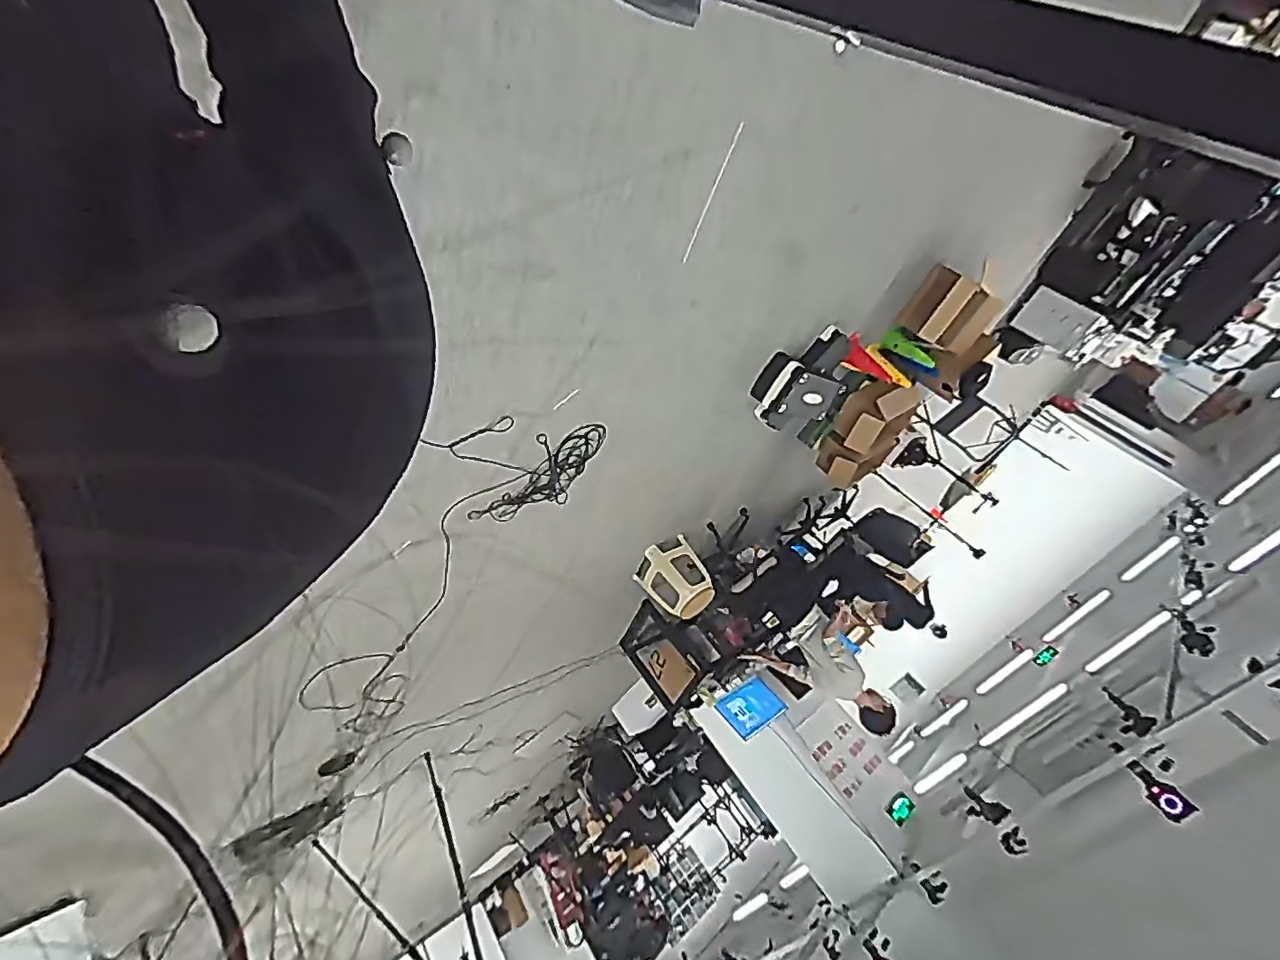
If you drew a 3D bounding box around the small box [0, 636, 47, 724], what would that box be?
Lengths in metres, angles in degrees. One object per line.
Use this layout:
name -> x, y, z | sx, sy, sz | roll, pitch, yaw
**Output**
small box -> -1.757, 0.546, 1.460 | 0.168, 0.176, 0.179 | -16, 142, -37
